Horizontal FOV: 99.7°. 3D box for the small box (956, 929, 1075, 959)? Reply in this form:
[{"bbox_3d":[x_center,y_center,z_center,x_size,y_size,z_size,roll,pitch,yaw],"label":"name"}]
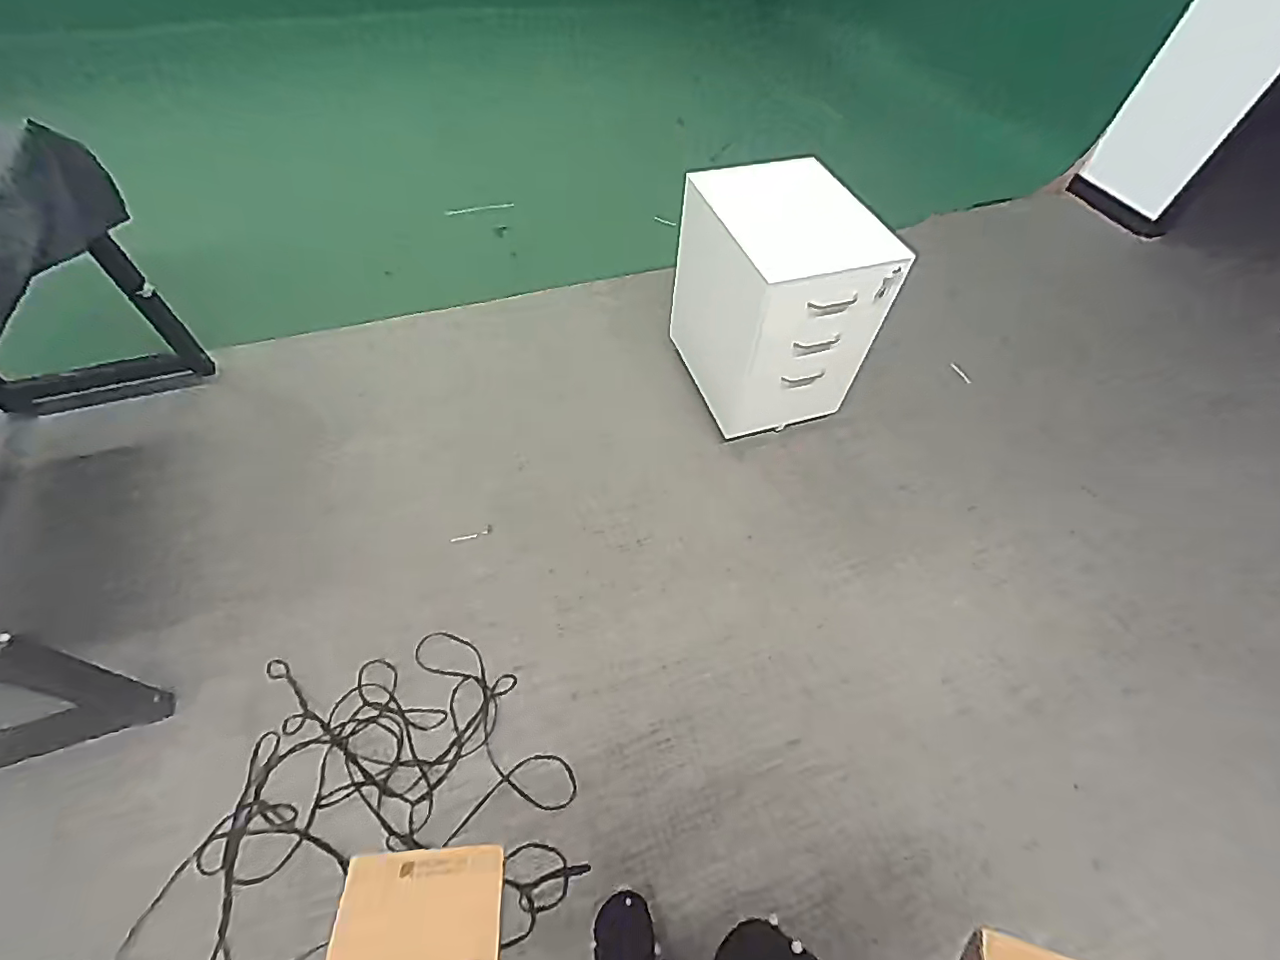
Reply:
[{"bbox_3d":[0.416,0.603,0.538,0.168,0.179,0.176,6,34,20],"label":"small box"}]
